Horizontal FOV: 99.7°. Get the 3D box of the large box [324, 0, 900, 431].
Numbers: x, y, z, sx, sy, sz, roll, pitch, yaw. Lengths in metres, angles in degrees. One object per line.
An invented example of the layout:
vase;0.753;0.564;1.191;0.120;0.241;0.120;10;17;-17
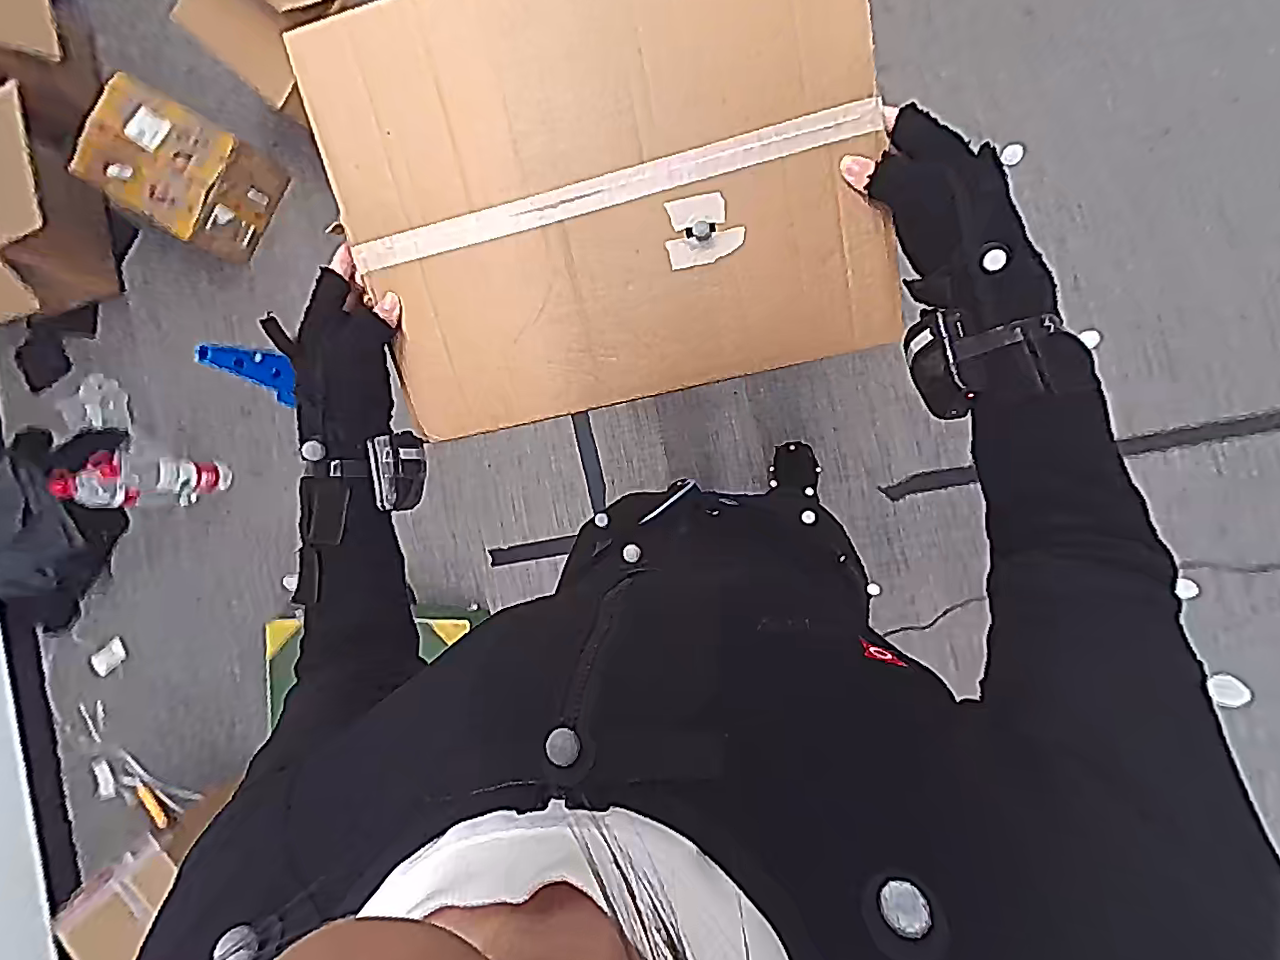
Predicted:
large box;-0.007;-0.264;0.562;0.408;0.320;0.320;-11;105;8
